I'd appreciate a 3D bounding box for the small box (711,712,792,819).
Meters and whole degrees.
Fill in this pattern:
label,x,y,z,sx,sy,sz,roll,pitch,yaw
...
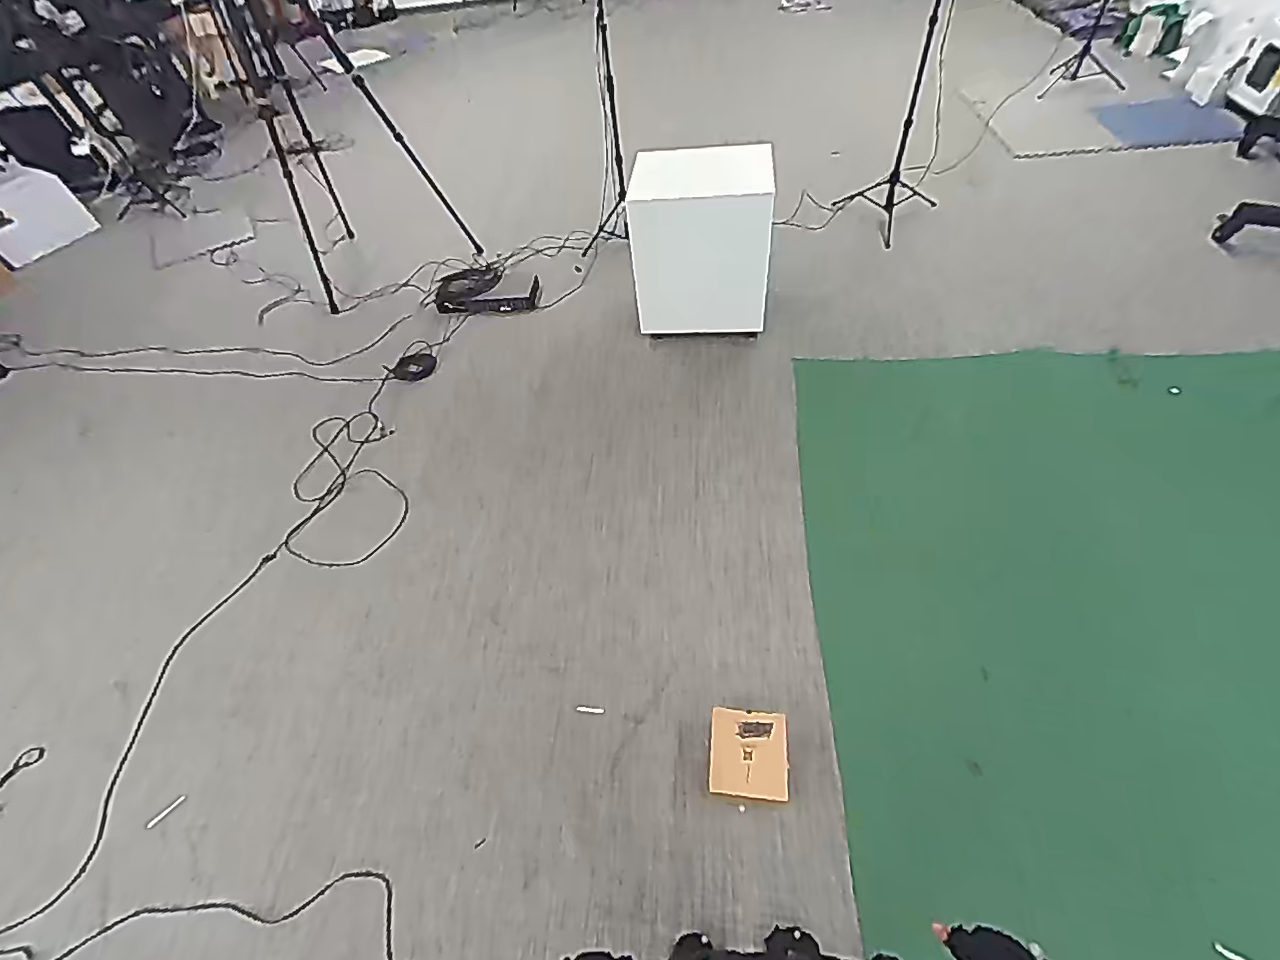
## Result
label,x,y,z,sx,sy,sz,roll,pitch,yaw
small box,0.250,0.651,1.231,0.168,0.176,0.179,2,53,9
